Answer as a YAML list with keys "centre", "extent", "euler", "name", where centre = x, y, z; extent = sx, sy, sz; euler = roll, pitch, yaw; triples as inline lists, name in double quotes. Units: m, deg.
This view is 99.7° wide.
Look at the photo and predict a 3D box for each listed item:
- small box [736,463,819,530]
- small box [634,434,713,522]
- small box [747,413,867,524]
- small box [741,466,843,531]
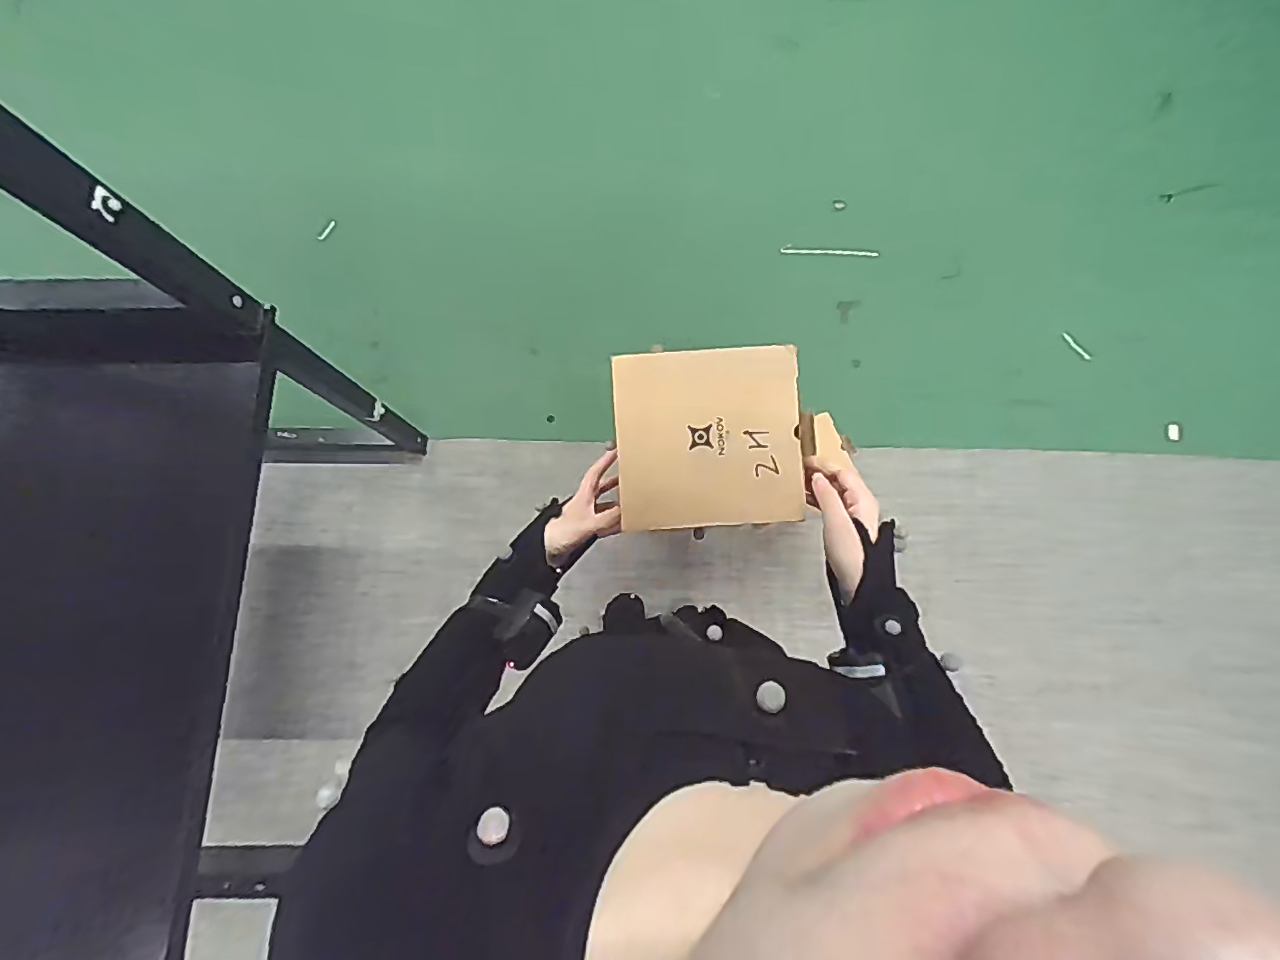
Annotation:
- centre: [0.365, 0.042, 1.477]
  extent: [0.179, 0.176, 0.168]
  euler: [-6, 79, -2]
  name: "small box"
- centre: [0.080, 0.003, 1.317]
  extent: [0.168, 0.176, 0.179]
  euler: [7, 78, 2]
  name: "small box"
- centre: [0.343, -0.017, 1.157]
  extent: [0.179, 0.176, 0.168]
  euler: [-23, 81, -5]
  name: "small box"
- centre: [0.358, 0.020, 1.317]
  extent: [0.179, 0.176, 0.168]
  euler: [-18, 81, -5]
  name: "small box"
